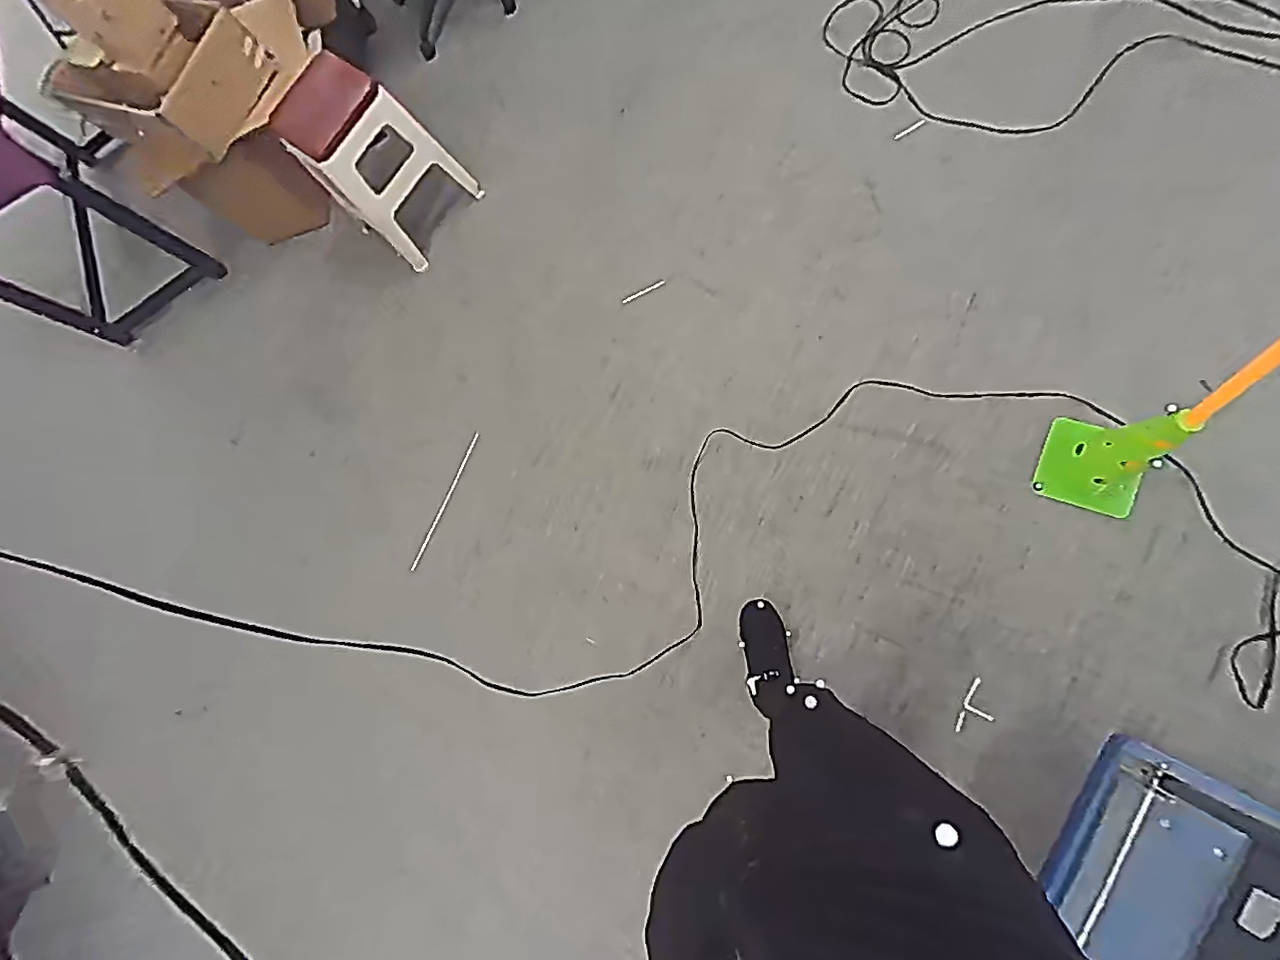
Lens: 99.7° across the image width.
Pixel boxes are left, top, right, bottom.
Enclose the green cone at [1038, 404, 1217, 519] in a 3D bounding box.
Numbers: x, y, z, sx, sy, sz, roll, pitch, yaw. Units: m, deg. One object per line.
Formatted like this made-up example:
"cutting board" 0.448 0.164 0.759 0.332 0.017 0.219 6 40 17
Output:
"green cone" 1.008 -0.066 1.086 0.200 0.368 0.202 20 83 19
